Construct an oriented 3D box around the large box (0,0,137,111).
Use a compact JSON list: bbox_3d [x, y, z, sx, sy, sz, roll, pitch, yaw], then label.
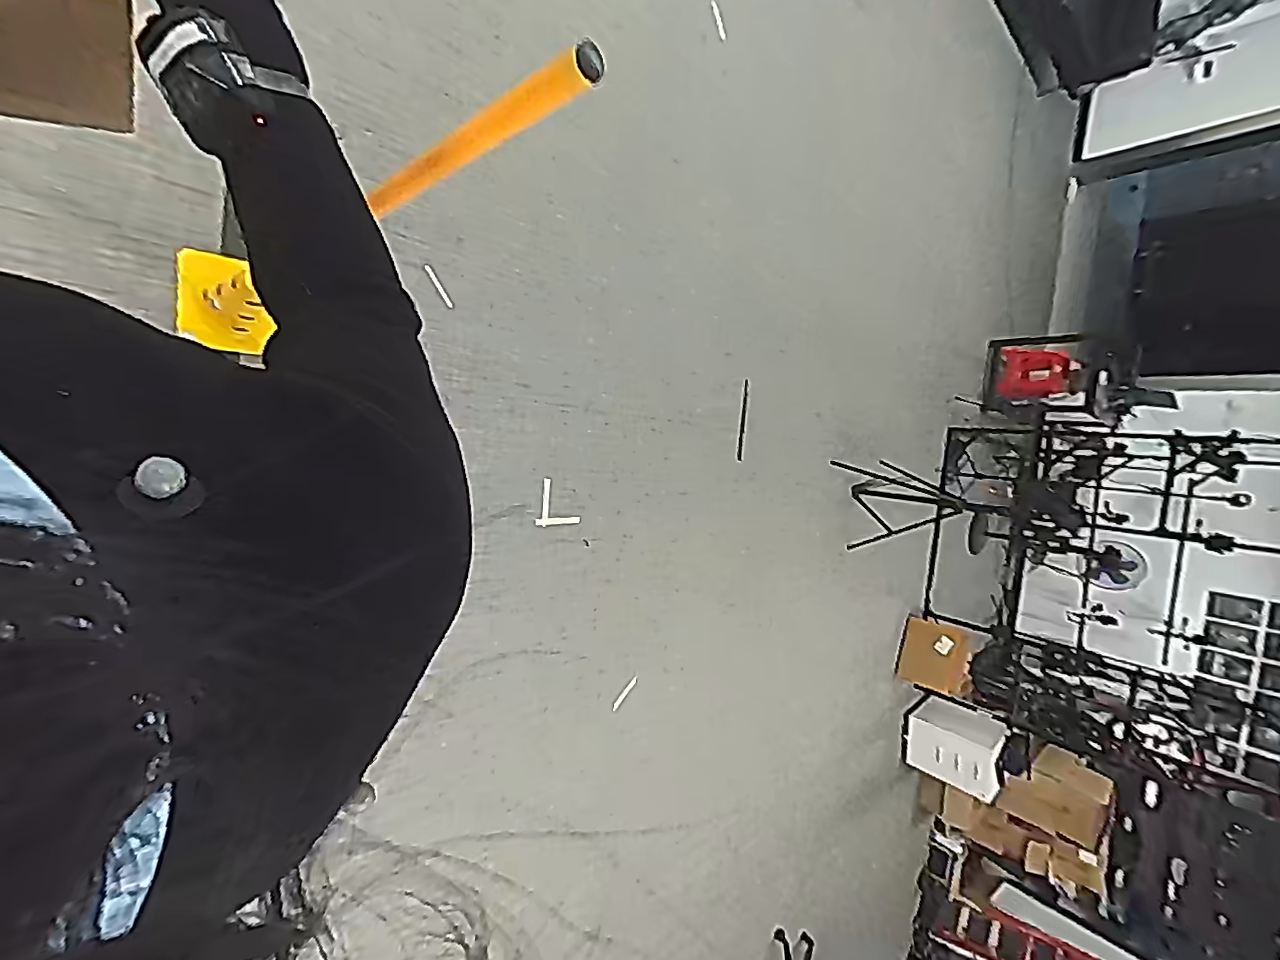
[{"bbox_3d":[-0.585,-0.444,0.290,0.408,0.320,0.320,-18,113,-39],"label":"large box"}]
